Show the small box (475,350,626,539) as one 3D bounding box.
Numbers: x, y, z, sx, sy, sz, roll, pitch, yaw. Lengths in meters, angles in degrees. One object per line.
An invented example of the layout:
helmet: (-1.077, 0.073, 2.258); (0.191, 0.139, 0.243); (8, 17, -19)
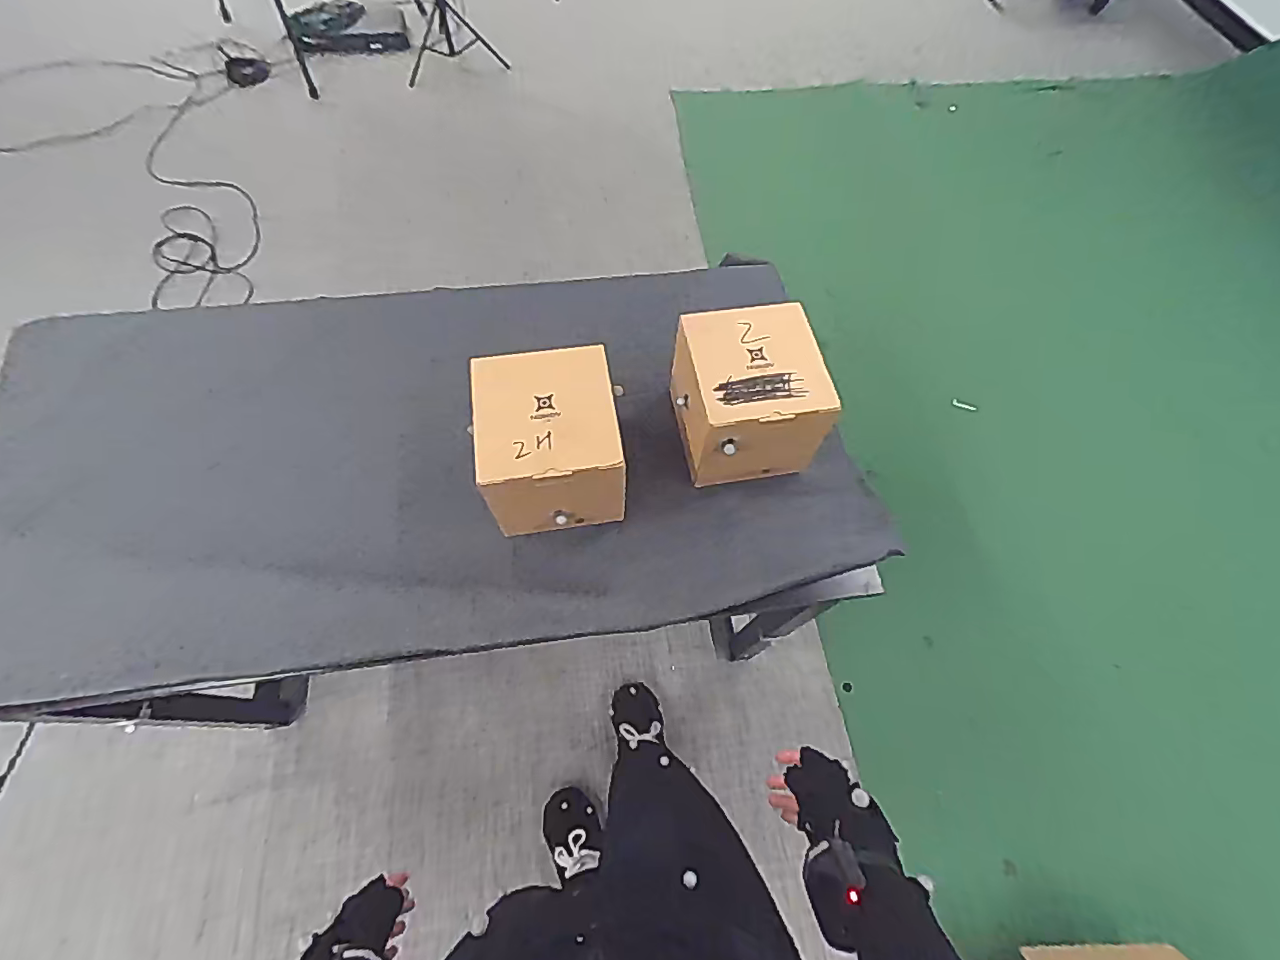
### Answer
small box: (-0.113, -0.041, 0.703); (0.168, 0.176, 0.179); (-8, 64, -6)
